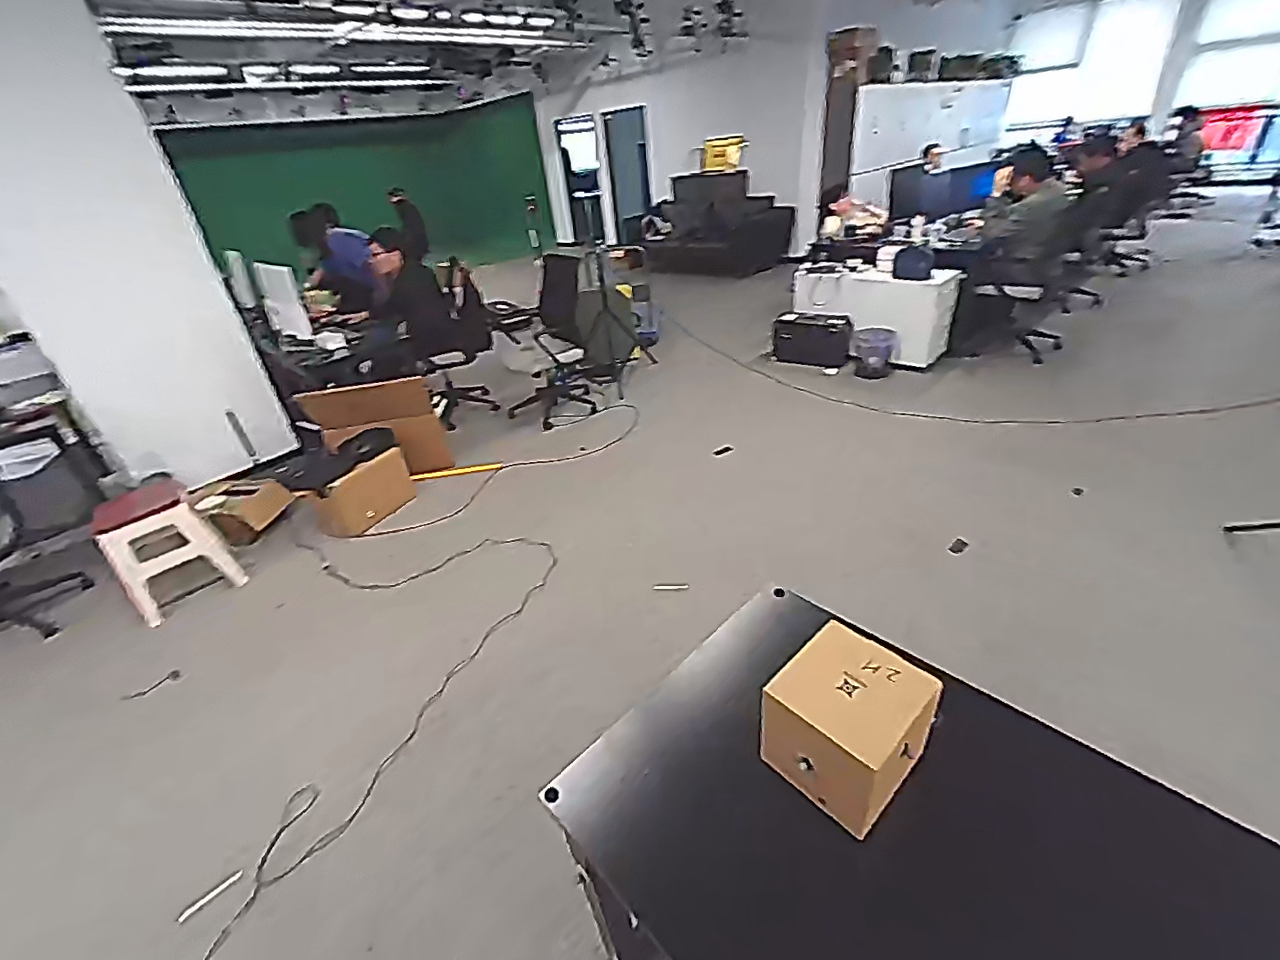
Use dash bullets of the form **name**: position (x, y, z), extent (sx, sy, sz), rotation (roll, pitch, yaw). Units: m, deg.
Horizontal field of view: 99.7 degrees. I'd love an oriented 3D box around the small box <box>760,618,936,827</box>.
- **small box**: position (0.291, 0.341, 0.772), extent (0.179, 0.176, 0.168), rotation (-30, 38, -32)
